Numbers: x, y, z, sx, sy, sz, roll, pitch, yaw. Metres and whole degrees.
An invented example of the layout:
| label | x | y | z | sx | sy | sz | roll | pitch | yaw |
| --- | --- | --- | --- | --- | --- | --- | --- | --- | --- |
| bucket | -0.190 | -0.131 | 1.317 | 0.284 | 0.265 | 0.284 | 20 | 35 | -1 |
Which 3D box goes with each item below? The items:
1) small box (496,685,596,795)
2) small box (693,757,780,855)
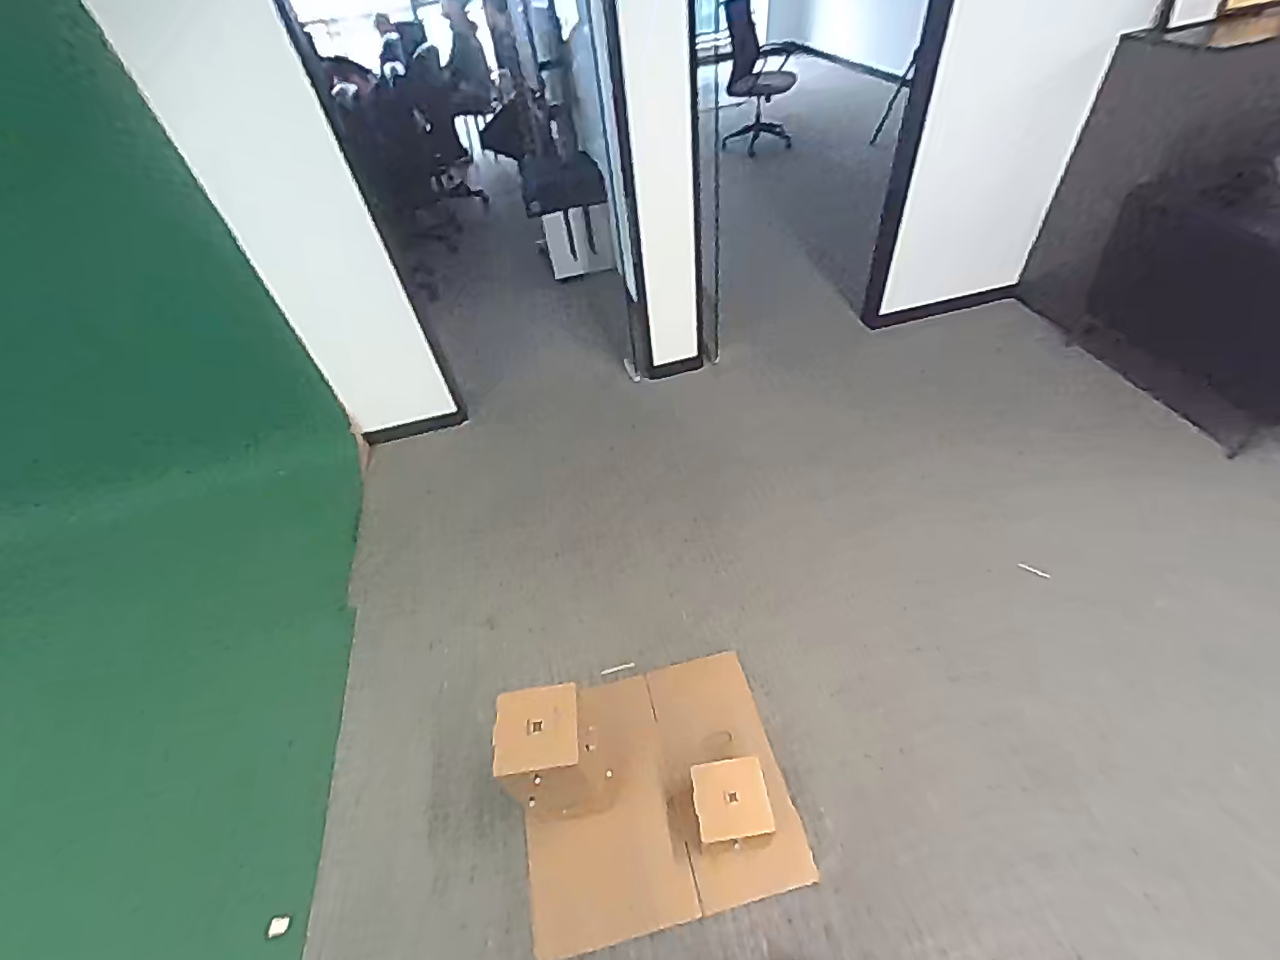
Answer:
| label | x | y | z | sx | sy | sz | roll | pitch | yaw |
| --- | --- | --- | --- | --- | --- | --- | --- | --- | --- |
| small box | -0.200 | 0.572 | 1.183 | 0.179 | 0.176 | 0.168 | -9 | 47 | 0 |
| small box | 0.235 | 0.812 | 1.344 | 0.179 | 0.176 | 0.168 | -10 | 46 | 1 |
